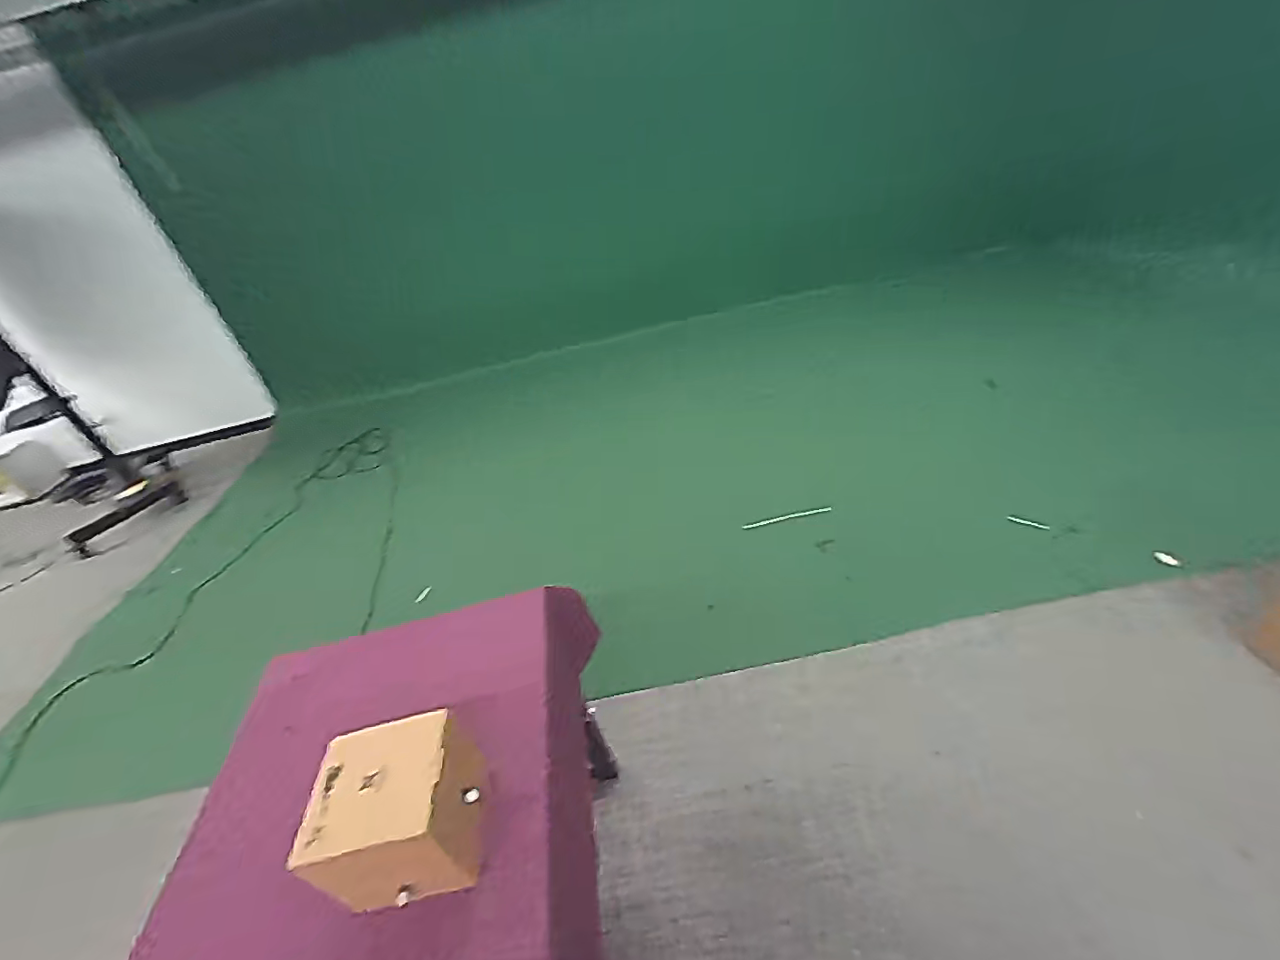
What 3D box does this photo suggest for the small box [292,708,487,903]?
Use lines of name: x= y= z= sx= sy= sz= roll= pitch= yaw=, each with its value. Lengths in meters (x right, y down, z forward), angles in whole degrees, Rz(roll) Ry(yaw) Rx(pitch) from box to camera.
small box: x=-0.329 y=0.454 z=0.756 sx=0.179 sy=0.176 sz=0.168 roll=-14 pitch=36 yaw=1
